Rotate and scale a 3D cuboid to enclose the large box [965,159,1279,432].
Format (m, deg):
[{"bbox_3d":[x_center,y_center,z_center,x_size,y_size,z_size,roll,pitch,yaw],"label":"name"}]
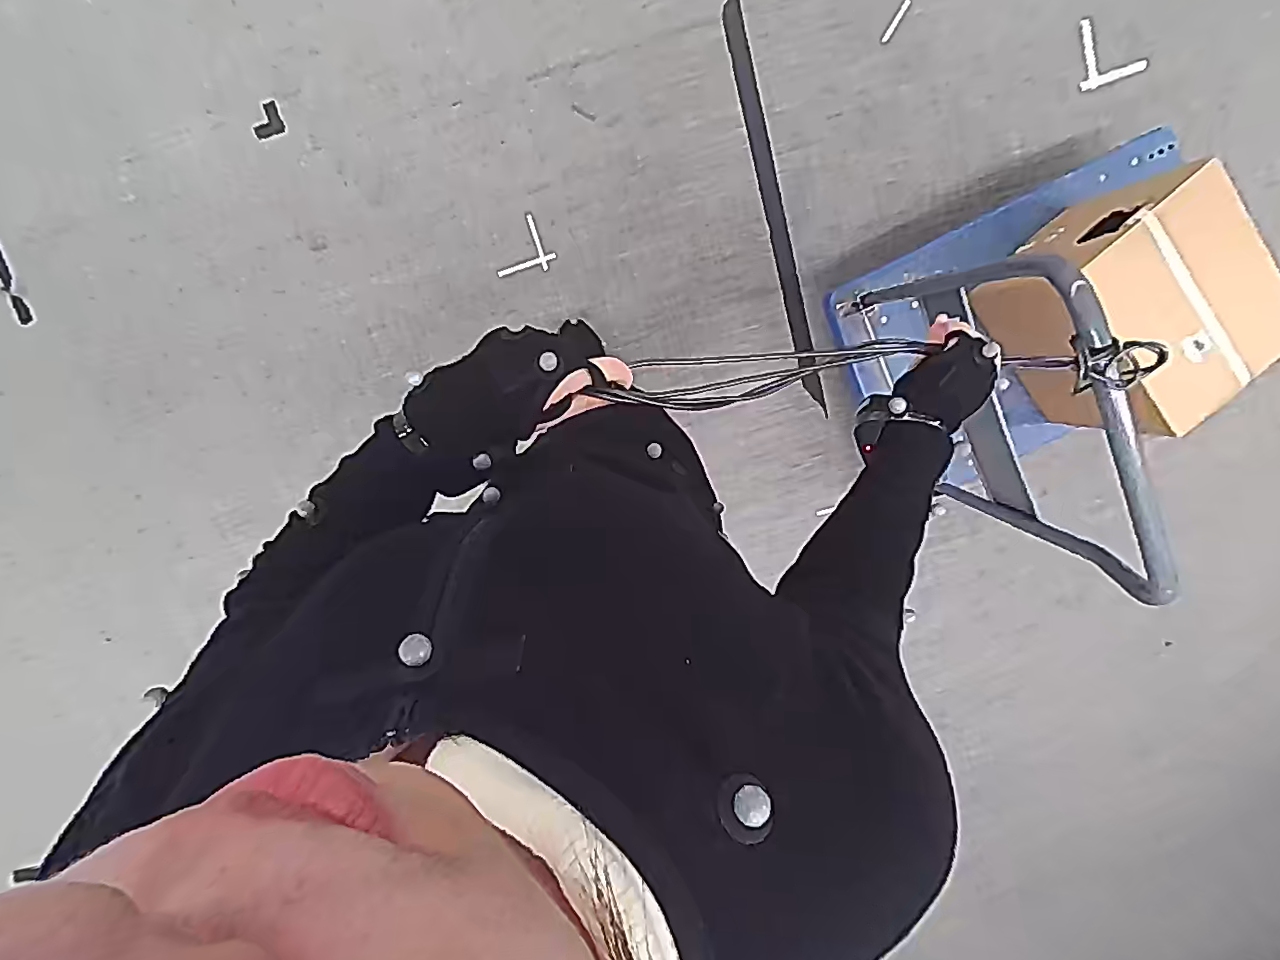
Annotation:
[{"bbox_3d":[1.009,-0.361,1.149,0.320,0.320,0.408,-42,102,5],"label":"large box"}]
